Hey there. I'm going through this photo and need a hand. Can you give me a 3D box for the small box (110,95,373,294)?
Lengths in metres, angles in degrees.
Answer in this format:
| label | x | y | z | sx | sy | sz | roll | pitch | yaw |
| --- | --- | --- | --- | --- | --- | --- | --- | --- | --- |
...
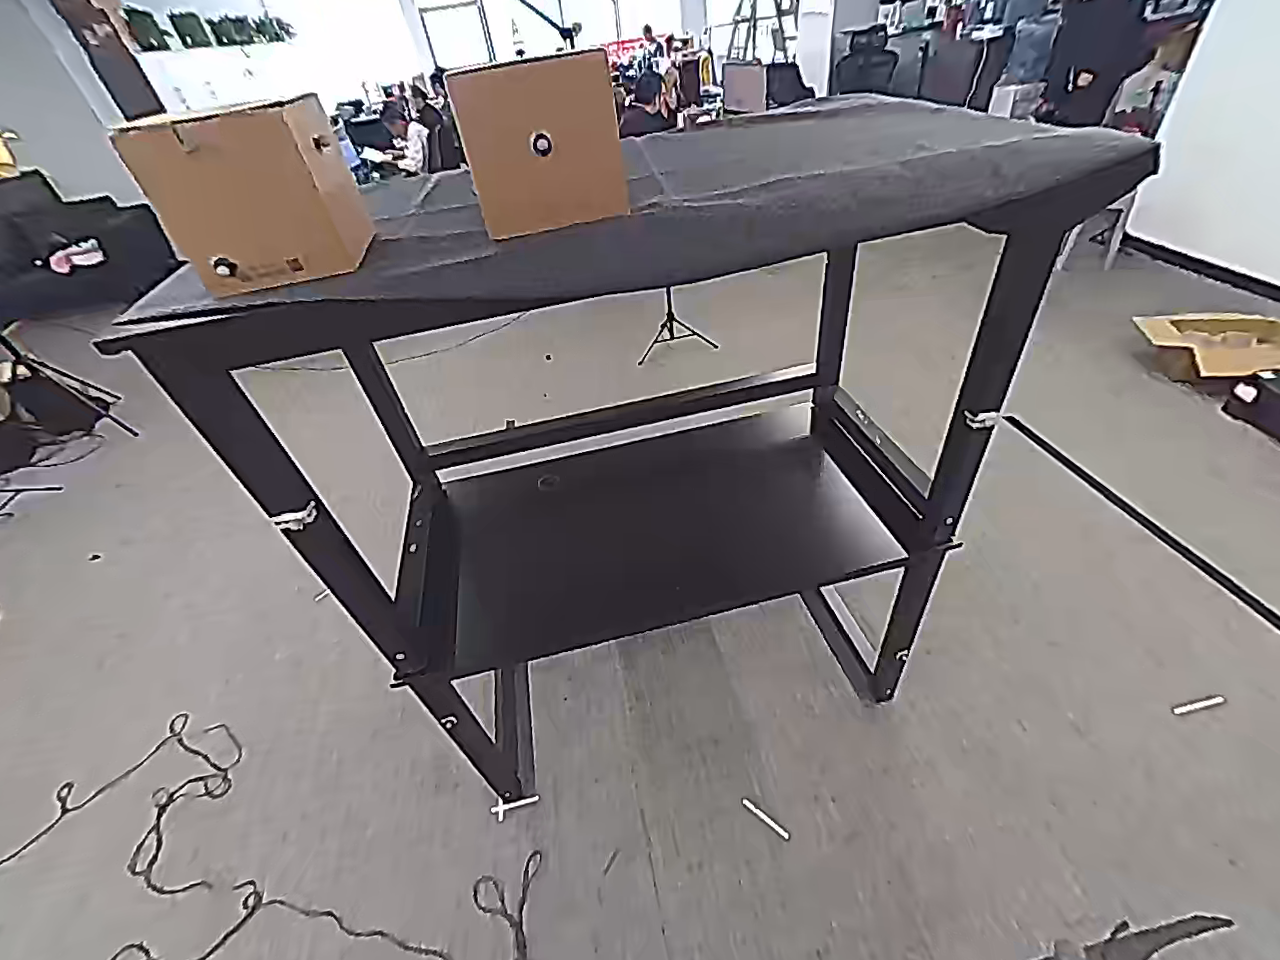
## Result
| label | x | y | z | sx | sy | sz | roll | pitch | yaw |
| --- | --- | --- | --- | --- | --- | --- | --- | --- | --- |
| small box | -0.442 | -0.335 | 0.641 | 0.168 | 0.176 | 0.179 | -14 | 41 | -6 |
